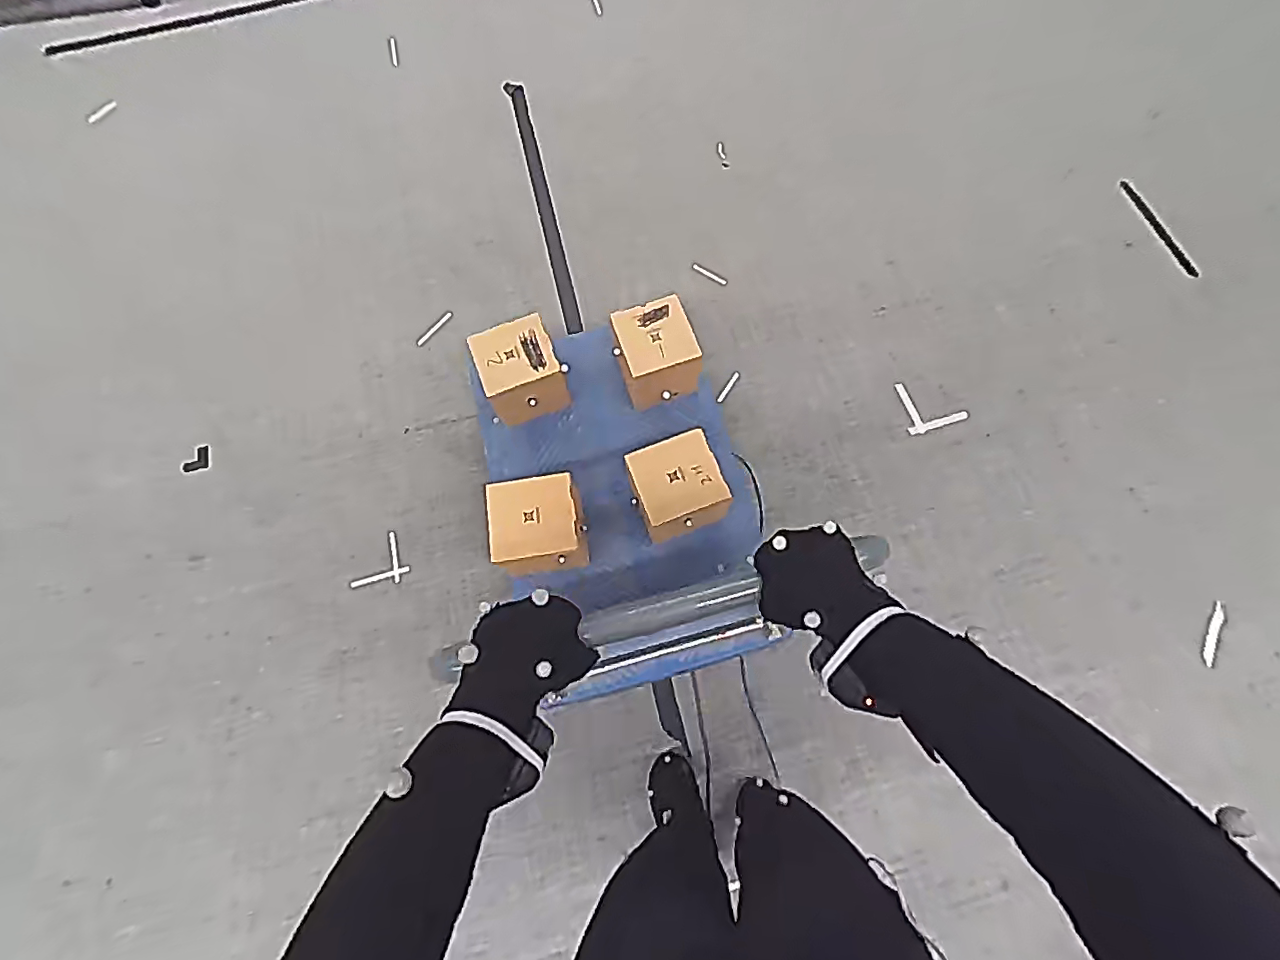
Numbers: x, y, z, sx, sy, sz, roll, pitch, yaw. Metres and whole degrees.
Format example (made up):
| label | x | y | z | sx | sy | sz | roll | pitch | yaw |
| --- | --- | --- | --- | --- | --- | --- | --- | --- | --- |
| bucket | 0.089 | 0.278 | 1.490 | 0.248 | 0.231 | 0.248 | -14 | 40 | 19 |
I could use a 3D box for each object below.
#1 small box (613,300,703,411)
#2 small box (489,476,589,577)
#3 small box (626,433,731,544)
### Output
| label | x | y | z | sx | sy | sz | roll | pitch | yaw |
| --- | --- | --- | --- | --- | --- | --- | --- | --- | --- |
| small box | 0.040 | -0.292 | 1.294 | 0.168 | 0.176 | 0.179 | -19 | 73 | -4 |
| small box | -0.214 | 0.107 | 1.169 | 0.179 | 0.176 | 0.168 | -9 | 71 | -2 |
| small box | 0.082 | 0.026 | 1.185 | 0.179 | 0.176 | 0.168 | -20 | 72 | -5 |
